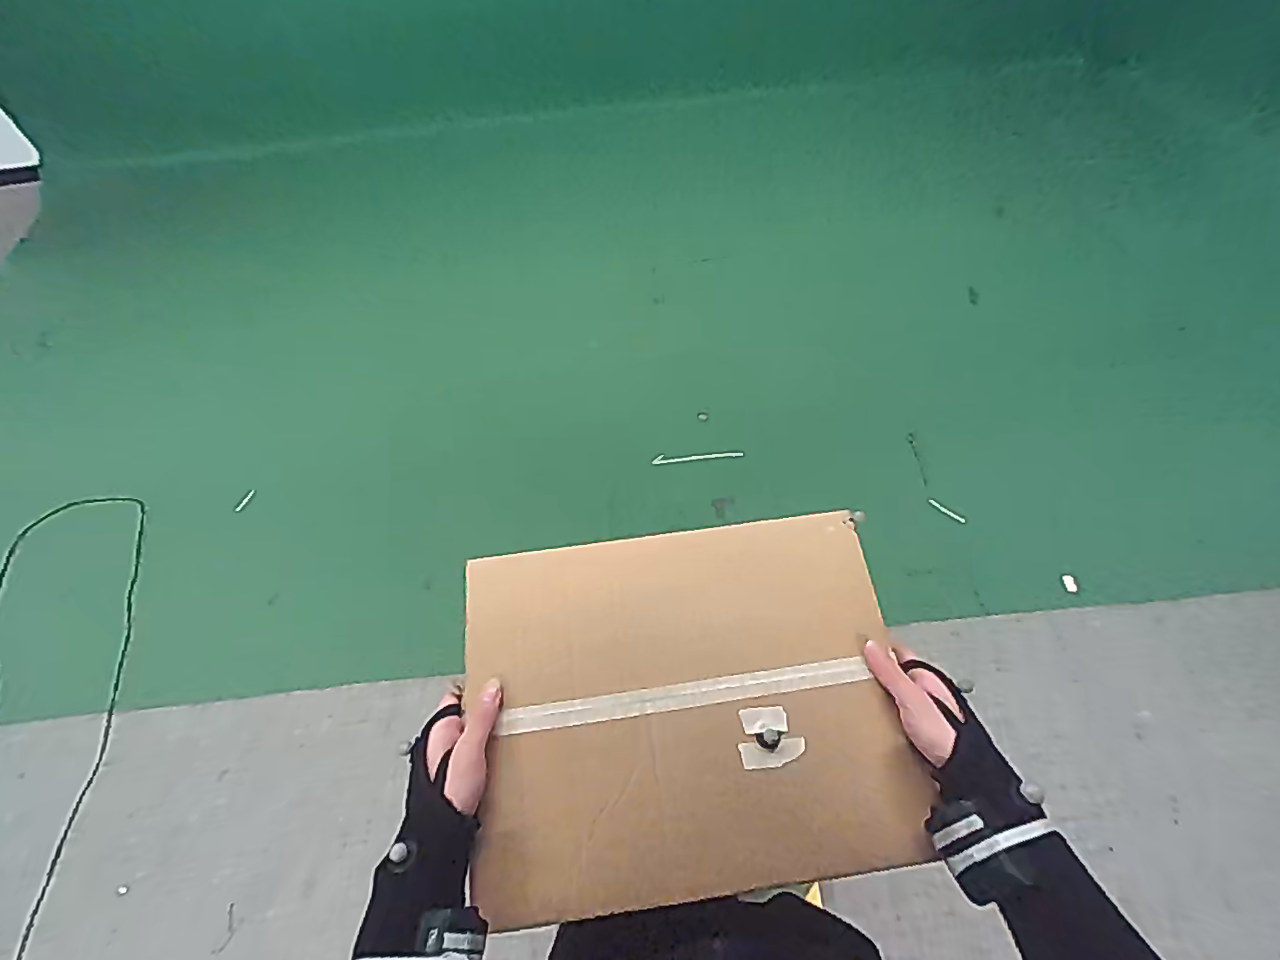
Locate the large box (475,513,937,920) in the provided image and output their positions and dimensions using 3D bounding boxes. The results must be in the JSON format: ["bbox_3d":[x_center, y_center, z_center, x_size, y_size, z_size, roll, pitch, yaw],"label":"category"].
[{"bbox_3d":[0.043,0.262,0.655,0.408,0.320,0.320,-7,67,-3],"label":"large box"}]
